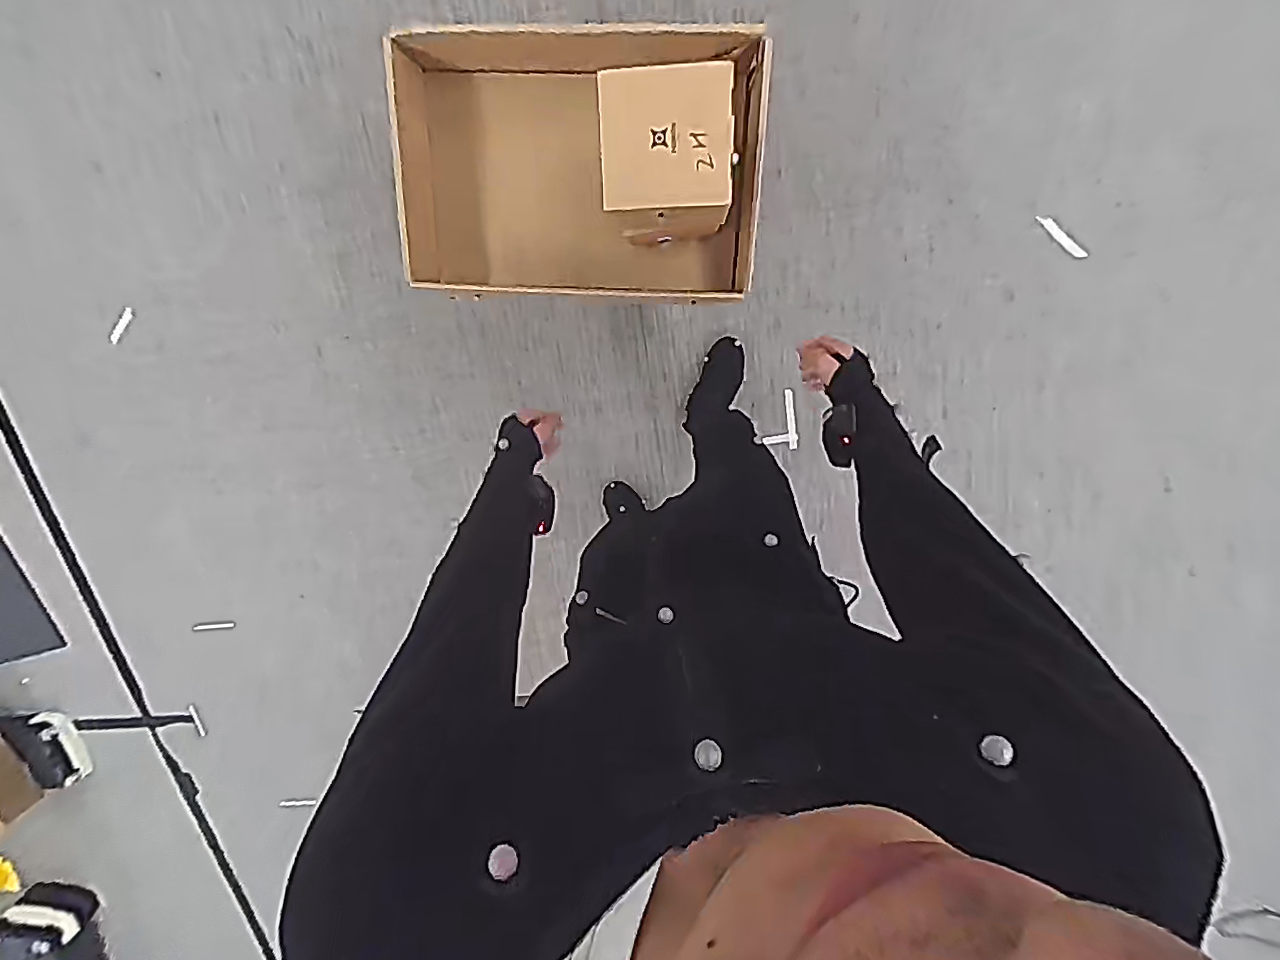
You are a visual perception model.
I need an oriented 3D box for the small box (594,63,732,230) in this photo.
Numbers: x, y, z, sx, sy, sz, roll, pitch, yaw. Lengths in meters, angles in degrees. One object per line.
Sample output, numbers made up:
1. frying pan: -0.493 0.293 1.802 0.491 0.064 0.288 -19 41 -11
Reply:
1. small box: 0.037 -0.461 0.774 0.179 0.176 0.168 0 107 5
